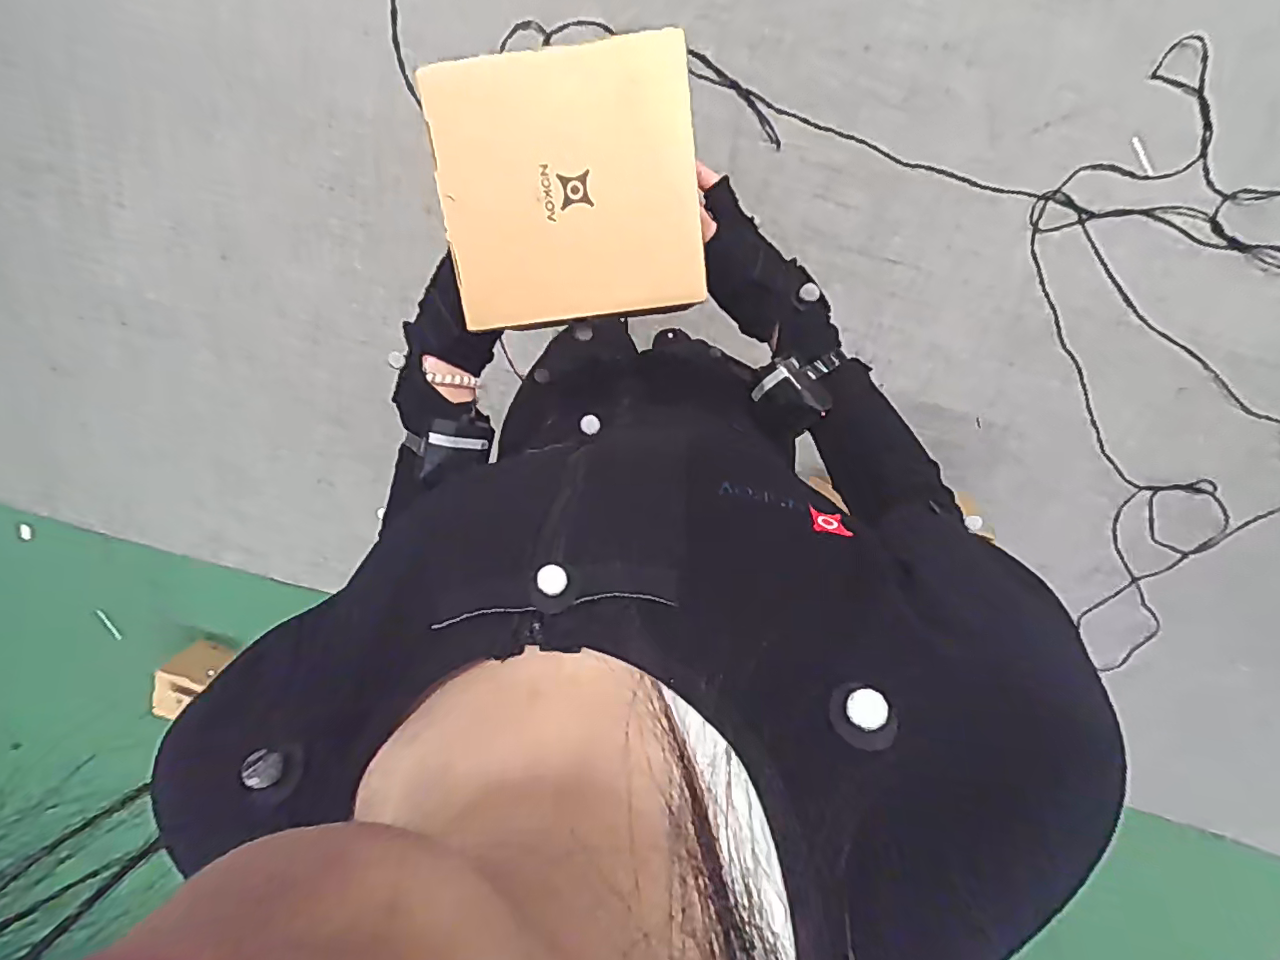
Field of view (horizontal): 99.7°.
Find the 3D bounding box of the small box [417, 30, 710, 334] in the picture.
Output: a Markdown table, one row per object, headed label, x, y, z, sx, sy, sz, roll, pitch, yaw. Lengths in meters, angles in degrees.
| label | x | y | z | sx | sy | sz | roll | pitch | yaw |
| --- | --- | --- | --- | --- | --- | --- | --- | --- | --- |
| small box | -0.045 | -0.214 | 0.435 | 0.179 | 0.176 | 0.168 | -7 | 106 | 3 |
